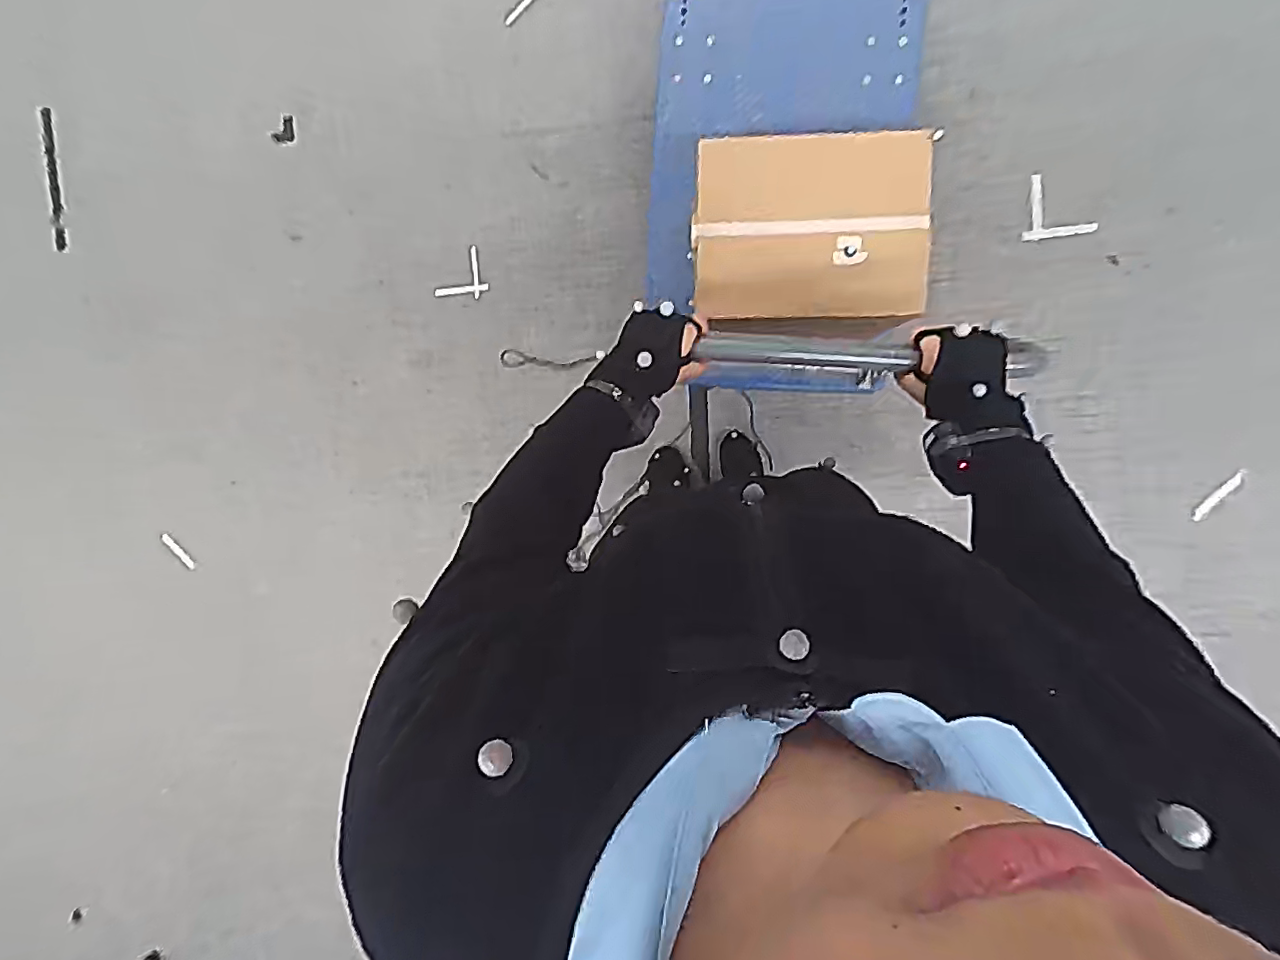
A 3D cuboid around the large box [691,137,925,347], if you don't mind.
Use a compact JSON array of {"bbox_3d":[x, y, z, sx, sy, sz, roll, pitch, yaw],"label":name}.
[{"bbox_3d":[0.314,-0.461,1.124,0.408,0.320,0.320,0,96,4],"label":"large box"}]
